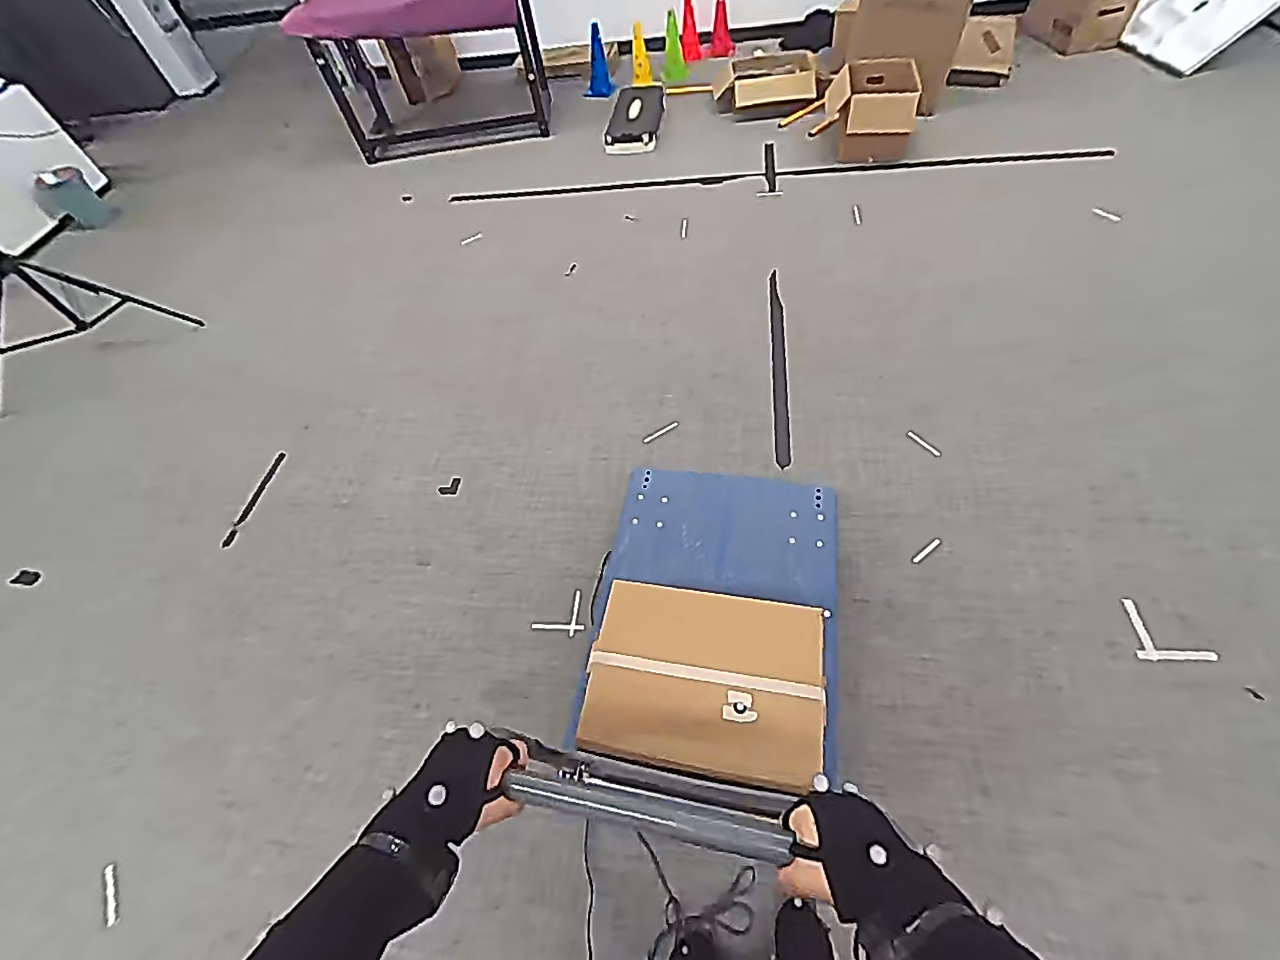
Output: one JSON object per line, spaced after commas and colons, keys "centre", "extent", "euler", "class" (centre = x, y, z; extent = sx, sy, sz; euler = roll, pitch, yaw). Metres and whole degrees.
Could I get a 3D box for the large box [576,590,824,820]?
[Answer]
{"centre": [0.124, 0.442, 1.060], "extent": [0.408, 0.320, 0.320], "euler": [6, 56, 11], "class": "large box"}
